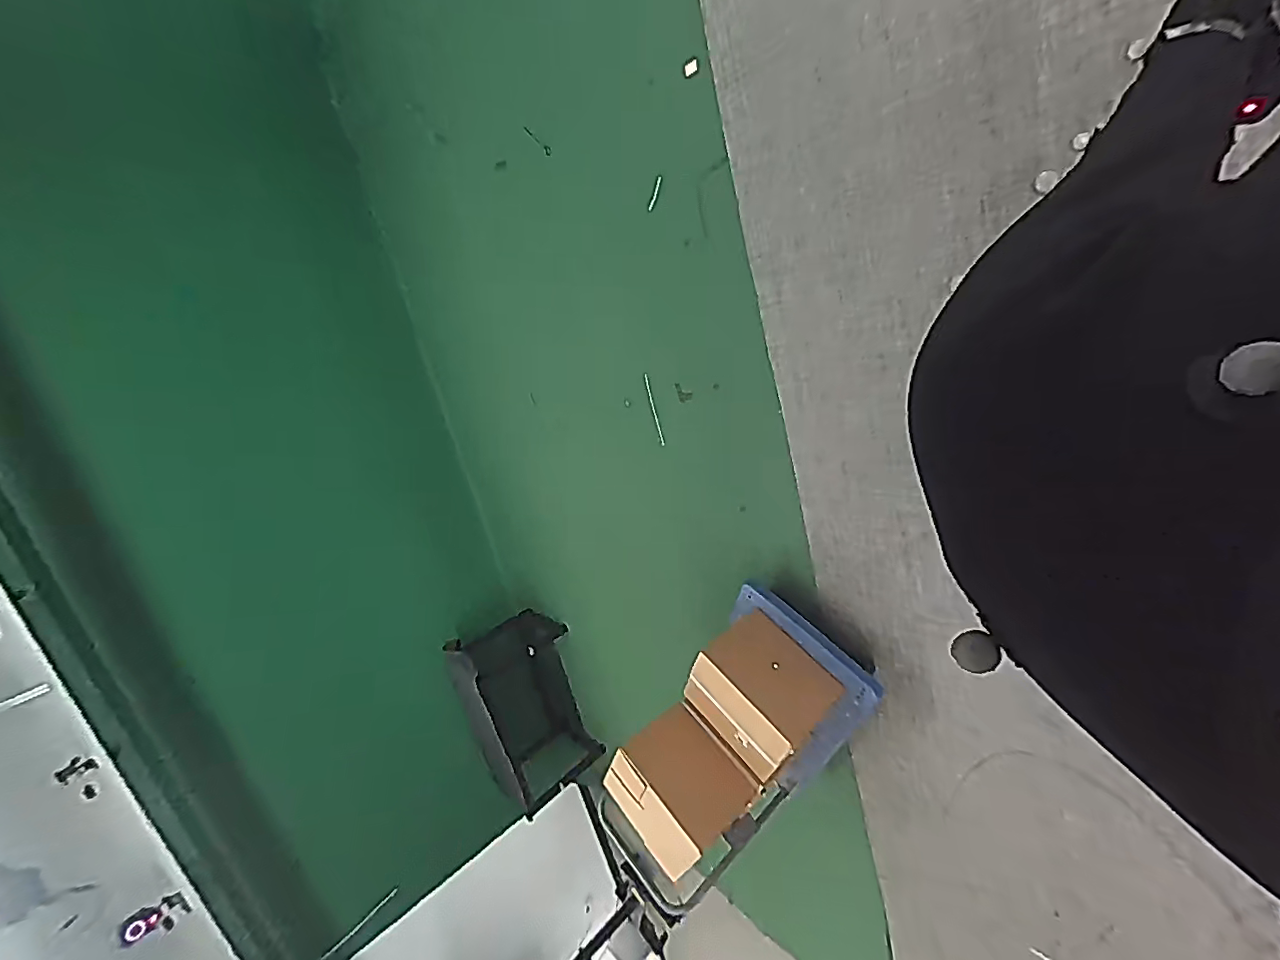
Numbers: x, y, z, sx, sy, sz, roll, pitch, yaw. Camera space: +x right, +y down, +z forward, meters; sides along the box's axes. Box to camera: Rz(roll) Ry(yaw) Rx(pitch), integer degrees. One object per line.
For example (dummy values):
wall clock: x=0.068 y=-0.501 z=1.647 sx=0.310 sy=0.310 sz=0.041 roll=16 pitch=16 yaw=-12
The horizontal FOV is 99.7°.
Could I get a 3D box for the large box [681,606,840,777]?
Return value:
large box: x=0.416 y=0.736 z=1.922 sx=0.408 sy=0.320 sz=0.320 roll=41 pitch=140 yaw=29
